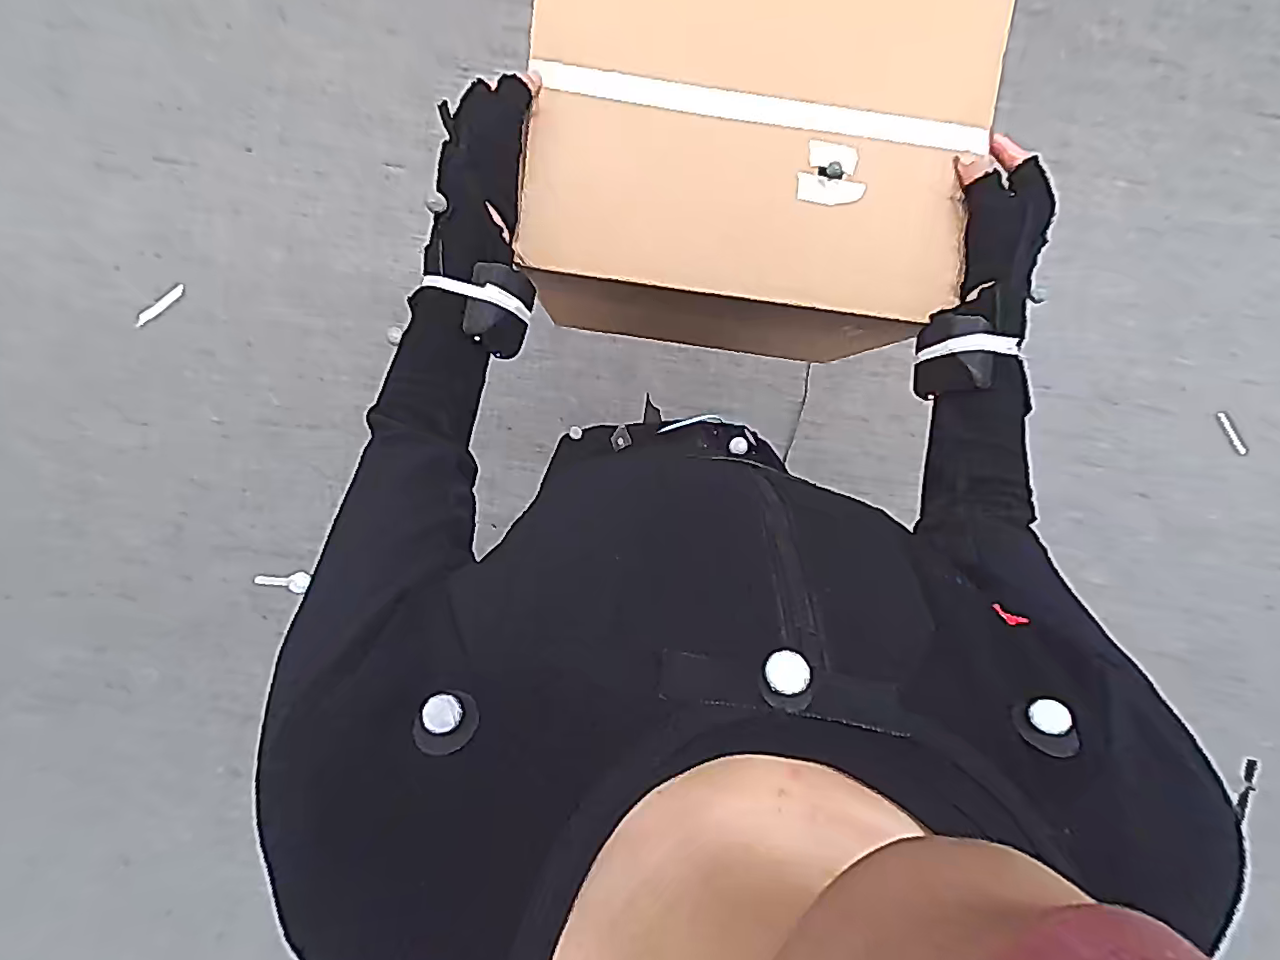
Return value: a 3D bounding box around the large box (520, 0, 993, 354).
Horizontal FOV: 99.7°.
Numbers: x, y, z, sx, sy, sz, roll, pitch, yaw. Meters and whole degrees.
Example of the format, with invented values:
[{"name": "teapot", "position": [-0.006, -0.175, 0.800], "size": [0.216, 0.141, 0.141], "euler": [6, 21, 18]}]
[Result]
[{"name": "large box", "position": [0.095, -0.341, 0.631], "size": [0.408, 0.320, 0.320], "euler": [7, 97, -3]}]
